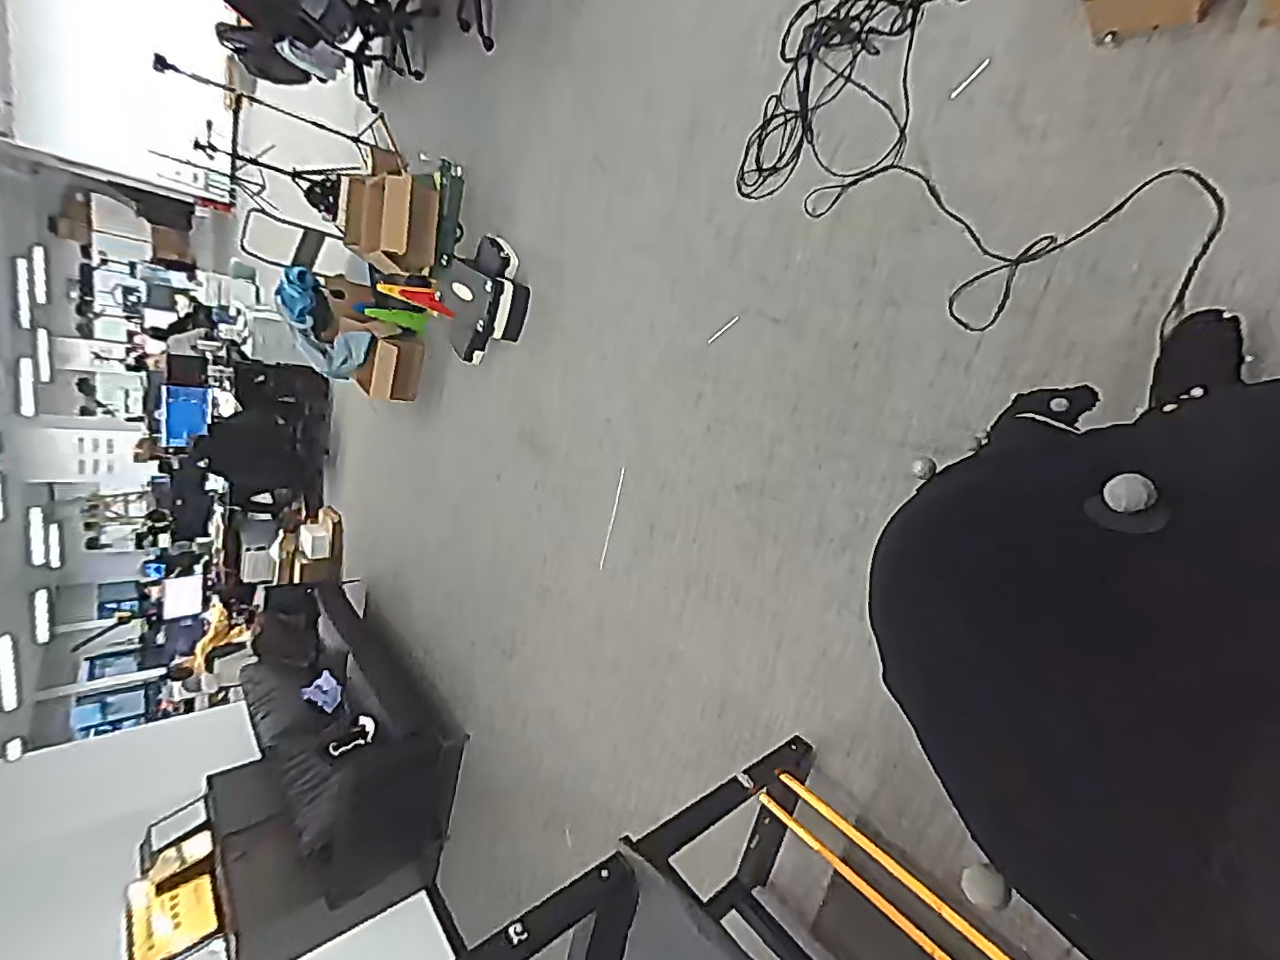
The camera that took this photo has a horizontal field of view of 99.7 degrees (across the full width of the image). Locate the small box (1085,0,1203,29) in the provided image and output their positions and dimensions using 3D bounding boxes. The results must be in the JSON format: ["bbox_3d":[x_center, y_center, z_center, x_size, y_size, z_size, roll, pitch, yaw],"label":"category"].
[{"bbox_3d":[0.980,-1.000,1.020,0.168,0.176,0.179,24,108,43],"label":"small box"}]
